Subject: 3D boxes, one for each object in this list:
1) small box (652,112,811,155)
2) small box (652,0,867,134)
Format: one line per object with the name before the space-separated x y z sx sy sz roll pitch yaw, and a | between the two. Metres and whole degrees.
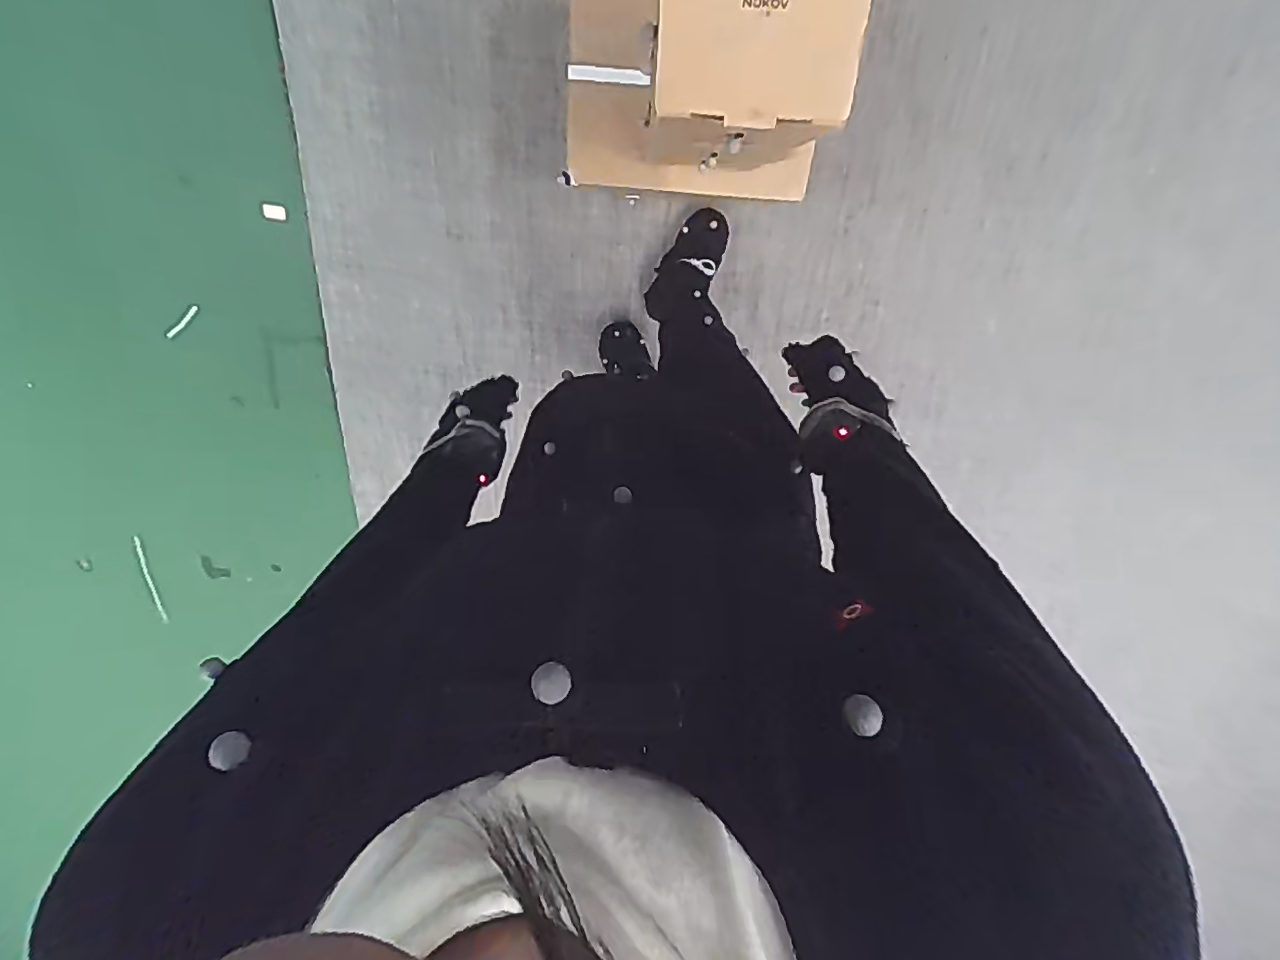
small box | 0.108 -0.488 0.635 0.179 0.176 0.168 4 116 2
small box | 0.100 -0.422 0.486 0.168 0.176 0.179 3 117 1
